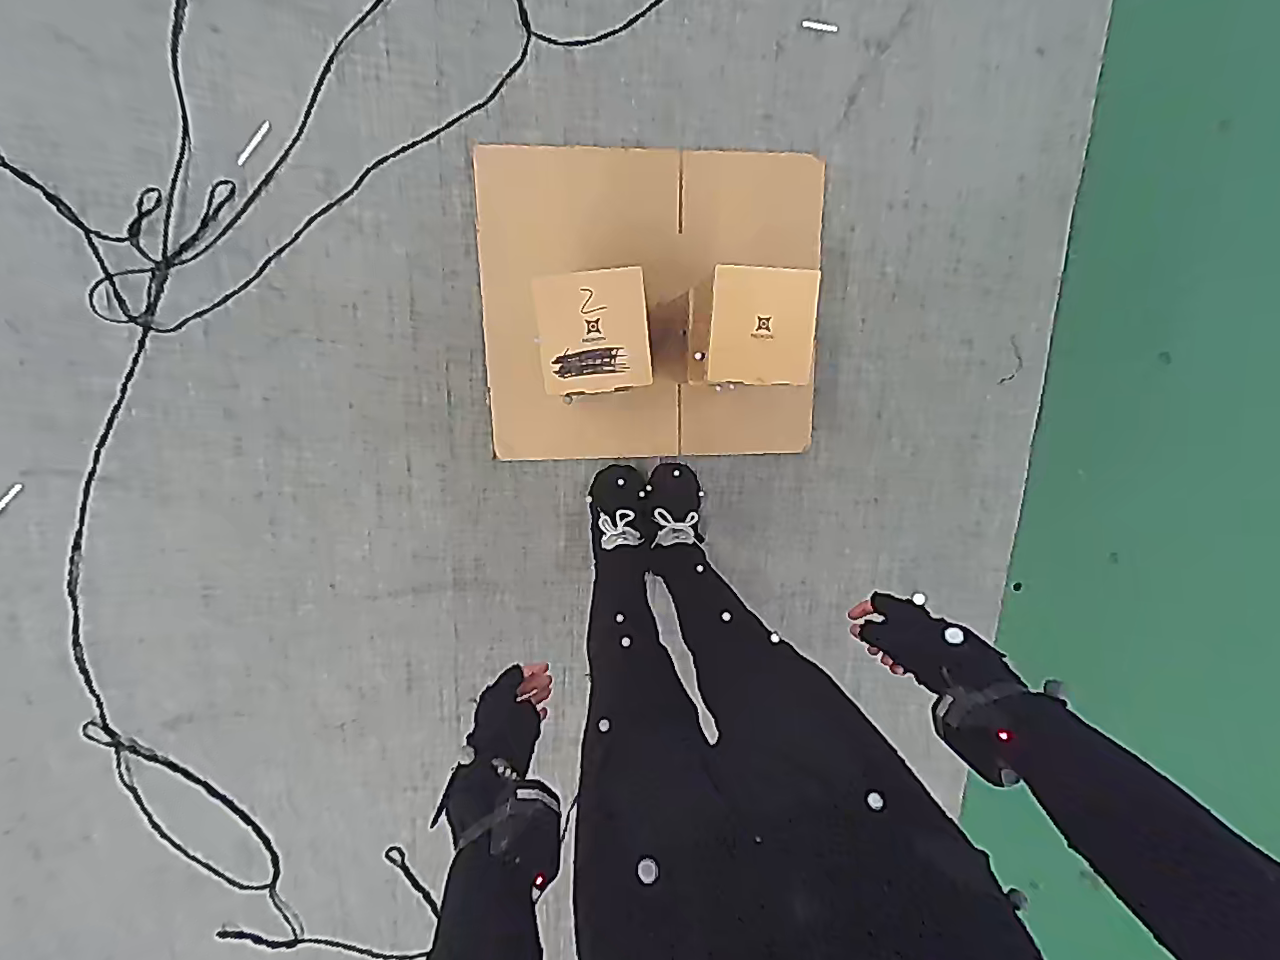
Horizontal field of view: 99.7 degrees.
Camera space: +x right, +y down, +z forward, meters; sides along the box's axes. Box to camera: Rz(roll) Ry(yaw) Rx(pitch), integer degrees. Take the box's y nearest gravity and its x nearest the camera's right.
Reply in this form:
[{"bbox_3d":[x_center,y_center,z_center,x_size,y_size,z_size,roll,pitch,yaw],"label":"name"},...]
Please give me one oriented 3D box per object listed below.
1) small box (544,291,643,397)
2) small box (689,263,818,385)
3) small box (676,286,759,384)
[{"bbox_3d":[-0.086,-0.259,1.041,0.168,0.176,0.179,-6,102,-4],"label":"small box"},{"bbox_3d":[0.179,-0.252,0.903,0.168,0.176,0.179,1,102,-5],"label":"small box"},{"bbox_3d":[0.163,-0.279,1.063,0.168,0.176,0.179,-1,102,-3],"label":"small box"}]
